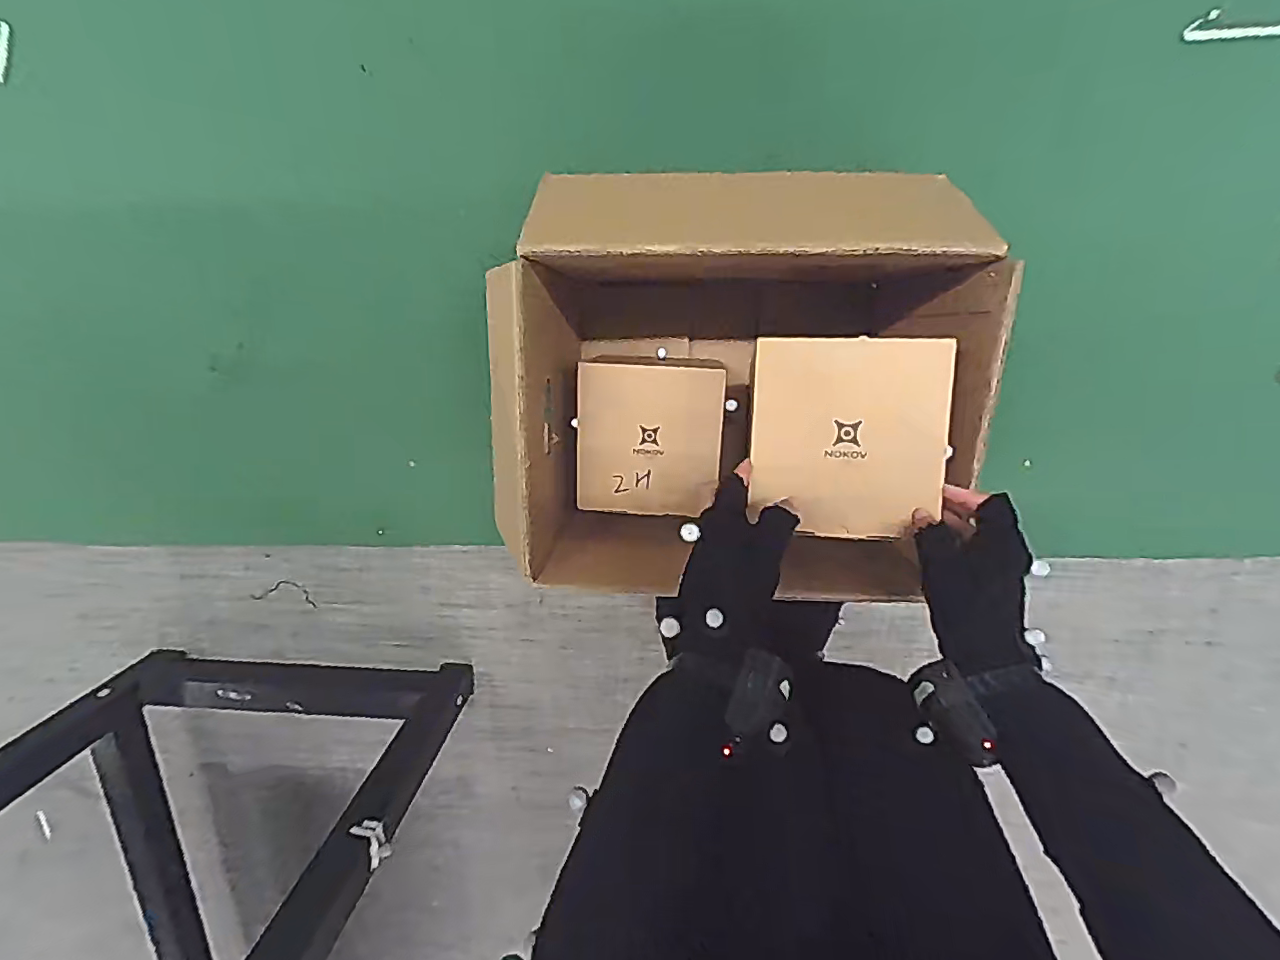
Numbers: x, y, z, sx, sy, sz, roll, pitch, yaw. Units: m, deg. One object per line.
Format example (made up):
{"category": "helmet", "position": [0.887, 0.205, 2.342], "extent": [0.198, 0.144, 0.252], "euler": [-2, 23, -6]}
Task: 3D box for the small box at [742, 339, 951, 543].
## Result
{"category": "small box", "position": [0.192, -0.043, 0.553], "extent": [0.168, 0.176, 0.179], "euler": [2, 97, 10]}
